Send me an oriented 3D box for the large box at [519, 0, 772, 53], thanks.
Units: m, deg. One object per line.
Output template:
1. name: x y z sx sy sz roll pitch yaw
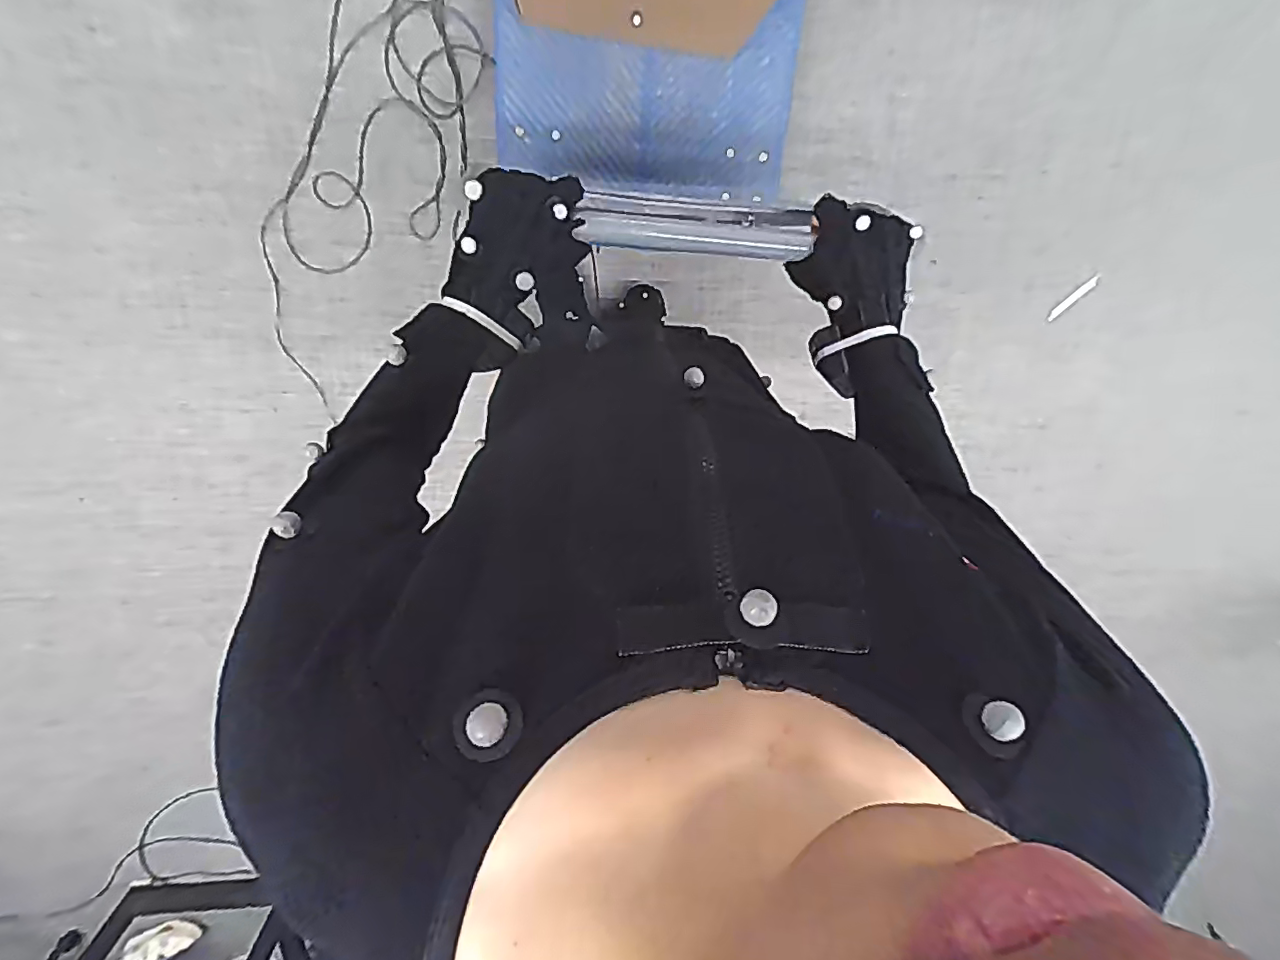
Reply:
1. large box: 0.011 -0.912 0.830 0.408 0.320 0.320 4 111 -7
